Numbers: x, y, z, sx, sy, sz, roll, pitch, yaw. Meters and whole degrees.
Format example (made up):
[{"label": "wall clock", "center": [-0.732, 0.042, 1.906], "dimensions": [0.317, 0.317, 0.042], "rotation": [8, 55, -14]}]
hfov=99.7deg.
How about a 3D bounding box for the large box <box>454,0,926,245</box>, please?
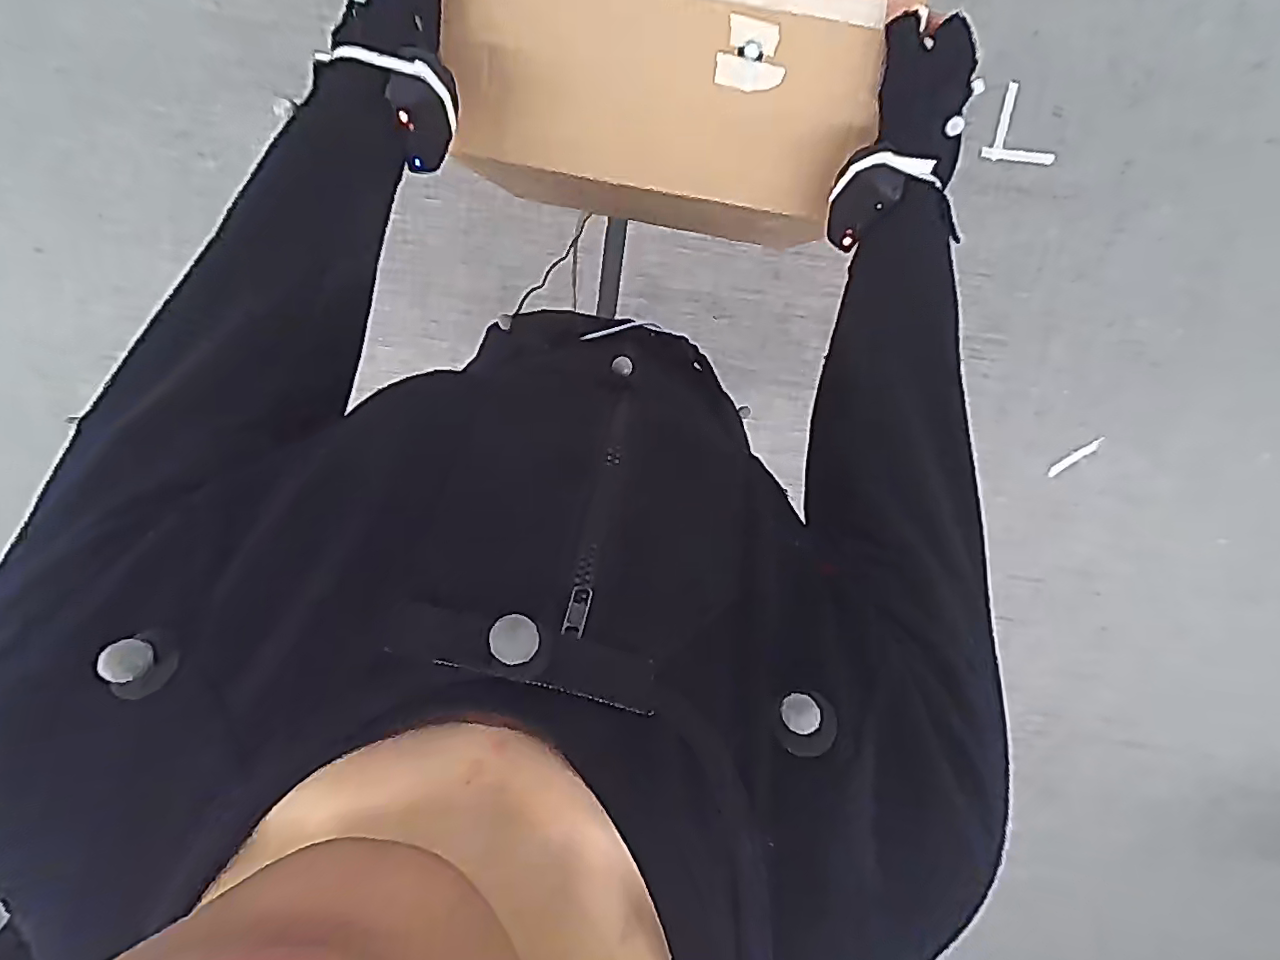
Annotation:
[{"label": "large box", "center": [0.044, -0.467, 0.600], "dimensions": [0.408, 0.320, 0.320], "rotation": [9, 111, -3]}]
